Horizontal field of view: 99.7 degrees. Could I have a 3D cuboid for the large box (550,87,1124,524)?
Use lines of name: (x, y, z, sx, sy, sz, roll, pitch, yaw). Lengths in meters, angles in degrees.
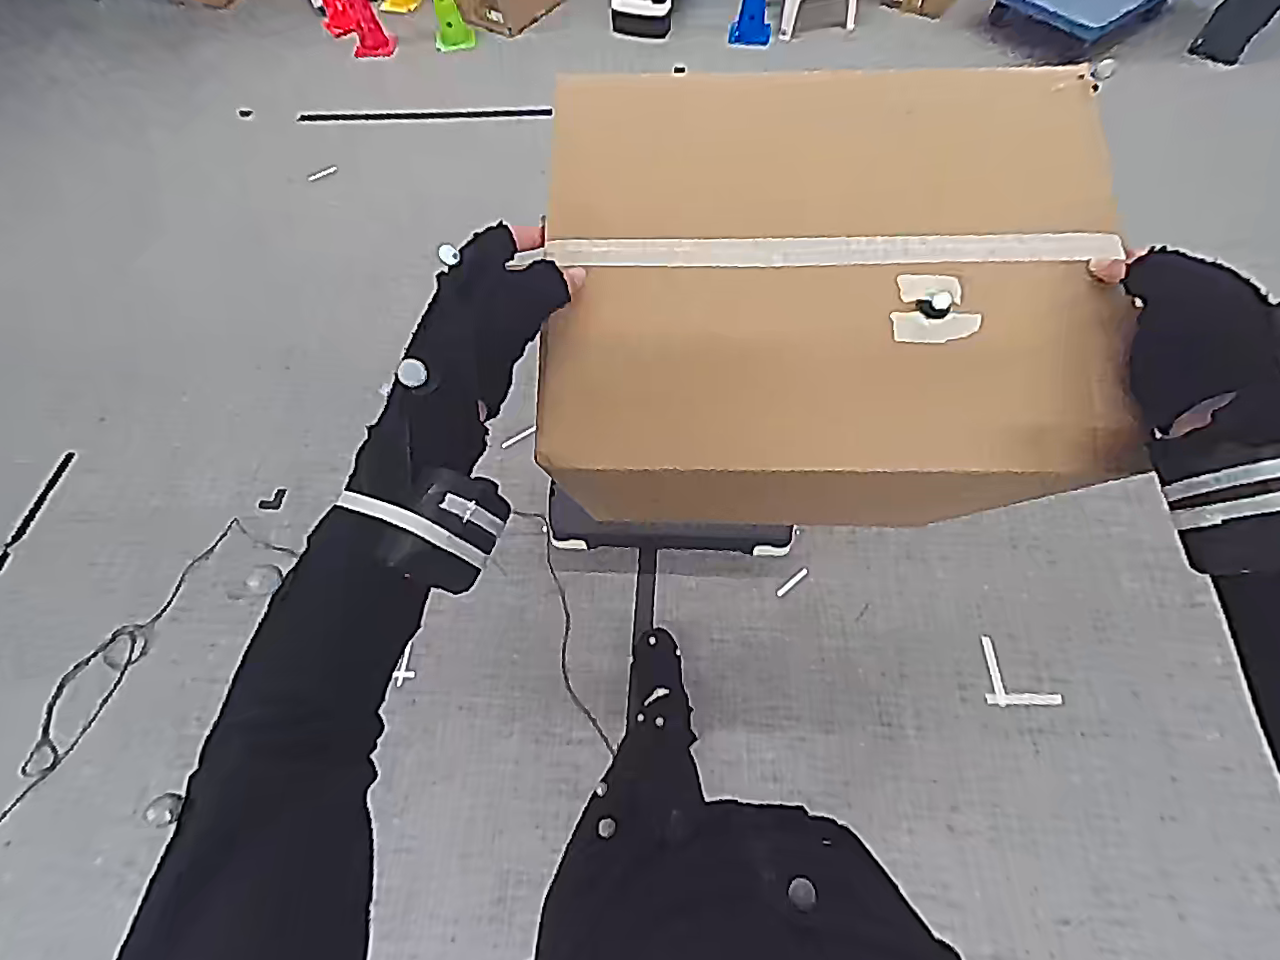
large box: (0.134, -0.129, 0.547, 0.408, 0.320, 0.320, 0, 80, 1)
